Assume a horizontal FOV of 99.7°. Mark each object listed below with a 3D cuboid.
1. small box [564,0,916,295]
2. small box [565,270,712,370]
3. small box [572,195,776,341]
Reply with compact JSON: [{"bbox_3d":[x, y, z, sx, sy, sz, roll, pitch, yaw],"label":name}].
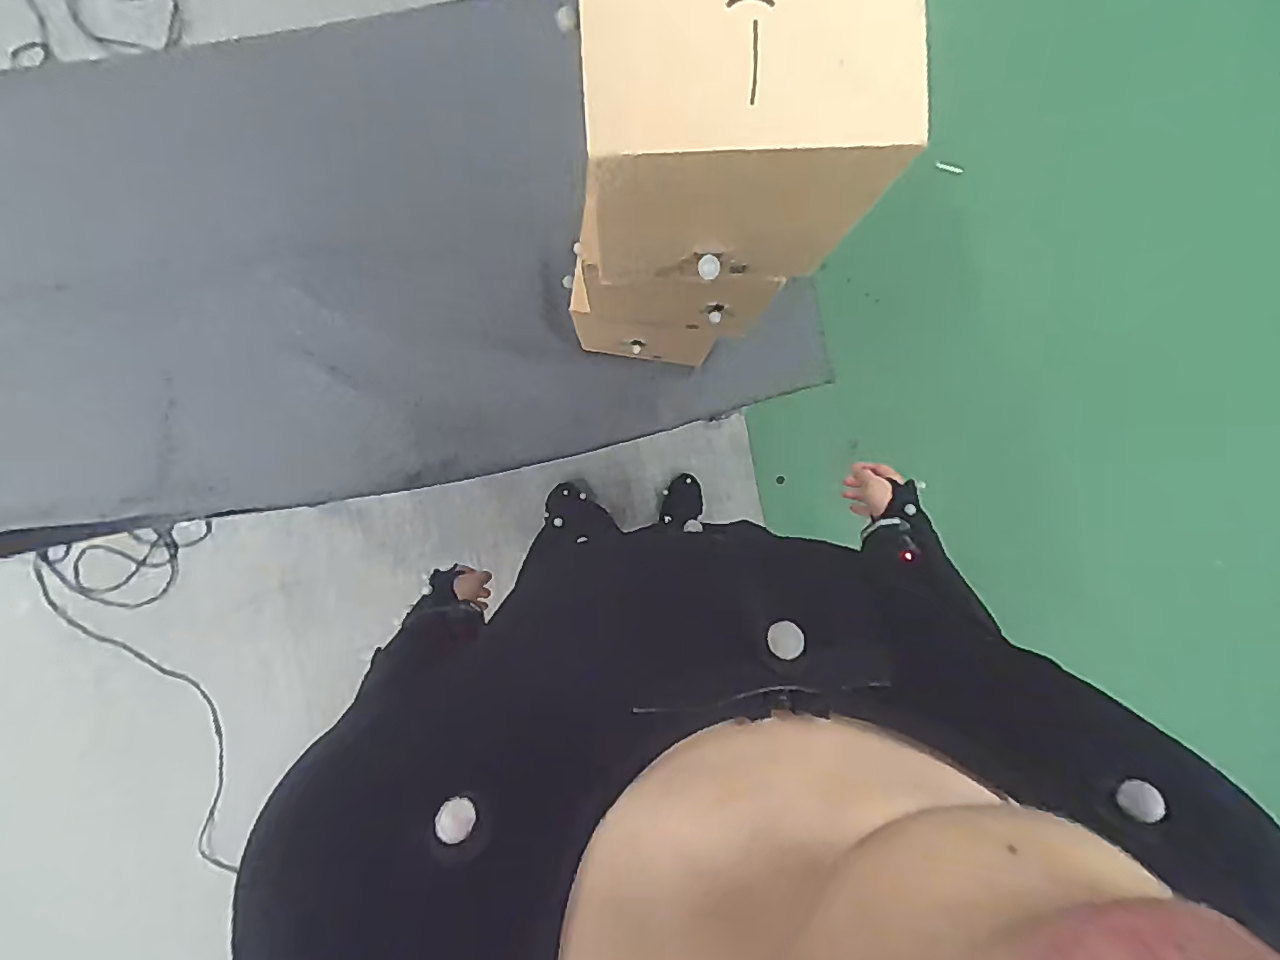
[{"bbox_3d":[0.043,-0.230,0.332,0.168,0.176,0.179,-3,90,-1],"label":"small box"},{"bbox_3d":[0.012,-0.242,0.658,0.168,0.176,0.179,8,89,-1],"label":"small box"},{"bbox_3d":[0.033,-0.235,0.496,0.168,0.176,0.179,3,89,-1],"label":"small box"}]
